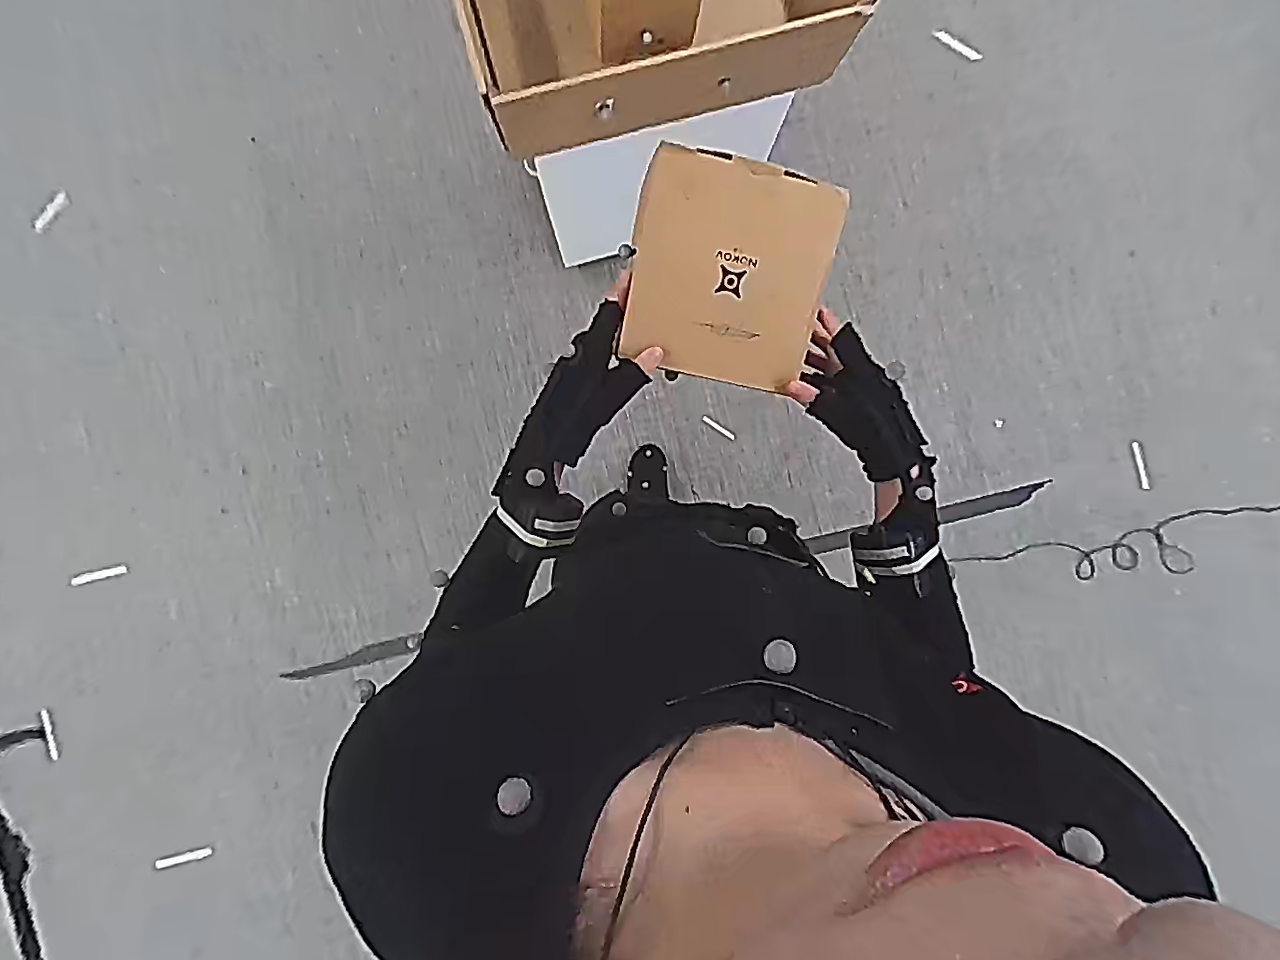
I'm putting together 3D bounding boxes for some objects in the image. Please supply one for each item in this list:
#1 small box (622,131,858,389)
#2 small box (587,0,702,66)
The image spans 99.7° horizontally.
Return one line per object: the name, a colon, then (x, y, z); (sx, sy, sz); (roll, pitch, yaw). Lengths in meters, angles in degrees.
small box: (0.077, -0.199, 0.530); (0.168, 0.176, 0.179); (11, 105, -6)
small box: (-0.002, -0.801, 0.839); (0.168, 0.176, 0.179); (-14, 95, -2)
